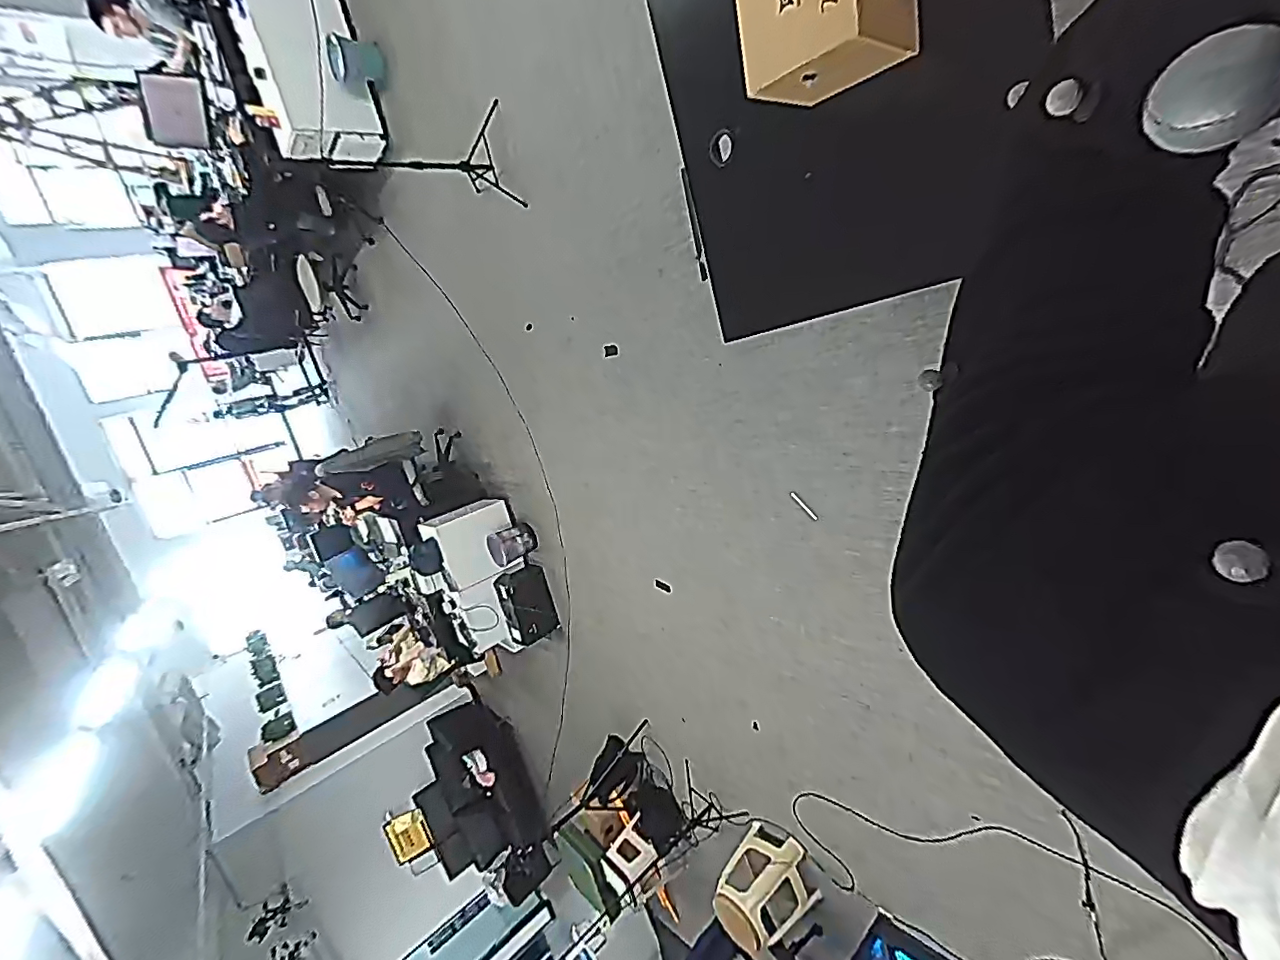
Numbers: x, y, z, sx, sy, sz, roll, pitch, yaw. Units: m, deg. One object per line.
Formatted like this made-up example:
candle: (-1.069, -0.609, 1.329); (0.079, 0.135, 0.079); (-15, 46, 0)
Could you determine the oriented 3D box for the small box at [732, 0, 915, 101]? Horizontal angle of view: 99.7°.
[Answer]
small box: (0.249, -0.649, 0.741); (0.179, 0.176, 0.168); (8, 116, 50)
